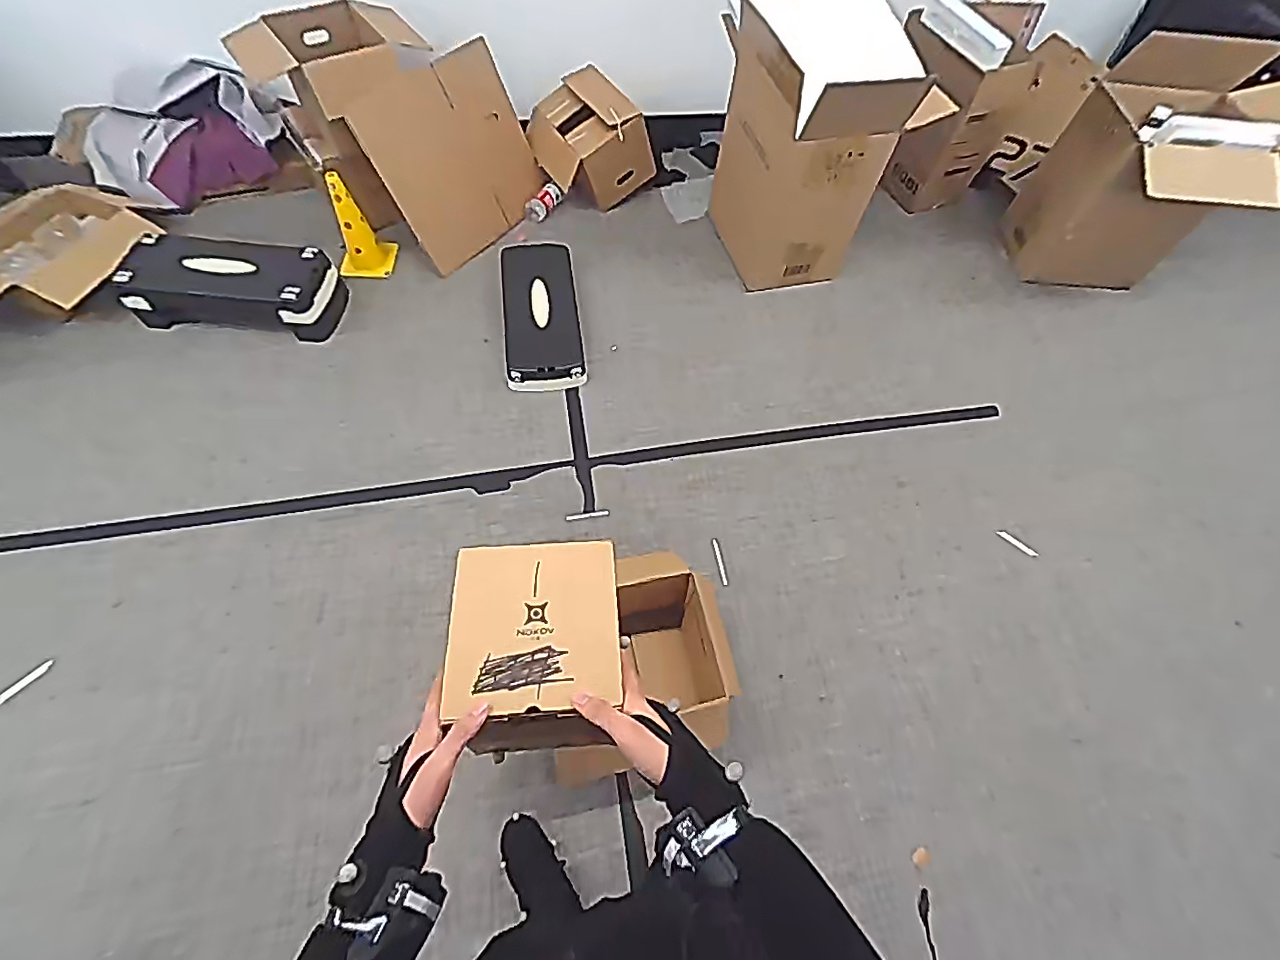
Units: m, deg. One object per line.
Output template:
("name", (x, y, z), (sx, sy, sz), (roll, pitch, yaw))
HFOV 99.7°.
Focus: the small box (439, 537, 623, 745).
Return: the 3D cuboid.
("small box", (-0.104, 0.181, 0.589), (0.168, 0.176, 0.179), (-2, 54, -5))
